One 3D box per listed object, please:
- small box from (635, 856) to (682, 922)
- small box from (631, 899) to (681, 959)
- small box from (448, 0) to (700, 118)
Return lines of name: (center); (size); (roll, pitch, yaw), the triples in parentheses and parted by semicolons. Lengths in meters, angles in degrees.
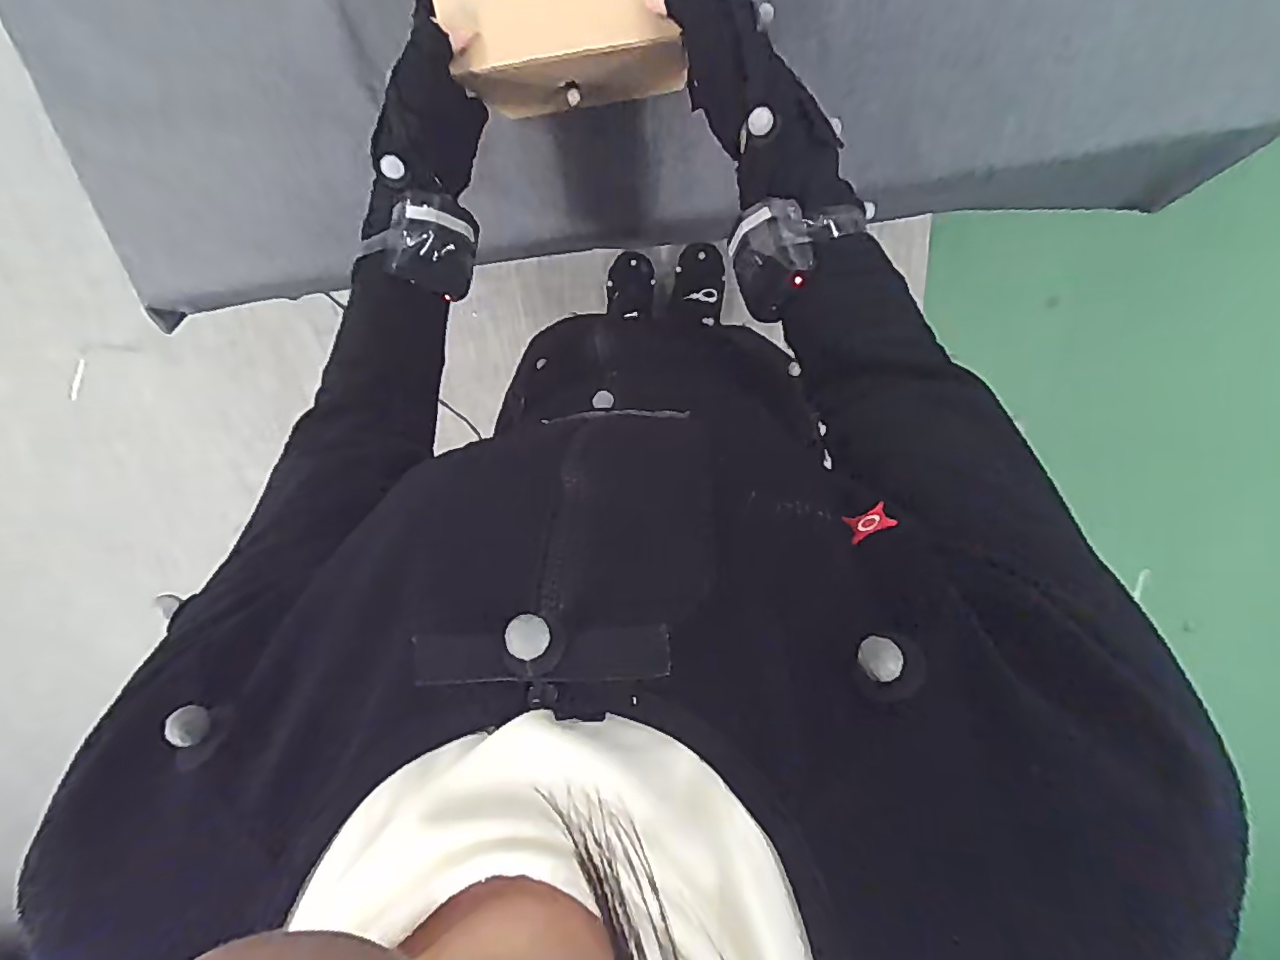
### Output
small box: (0.078, 1.669, 2.208); (0.179, 0.176, 0.168); (-5, 115, 5)
small box: (0.064, 1.737, 2.060); (0.179, 0.176, 0.168); (-2, 116, 6)
small box: (-0.054, -0.414, 0.432); (0.179, 0.176, 0.168); (-9, 114, 7)
